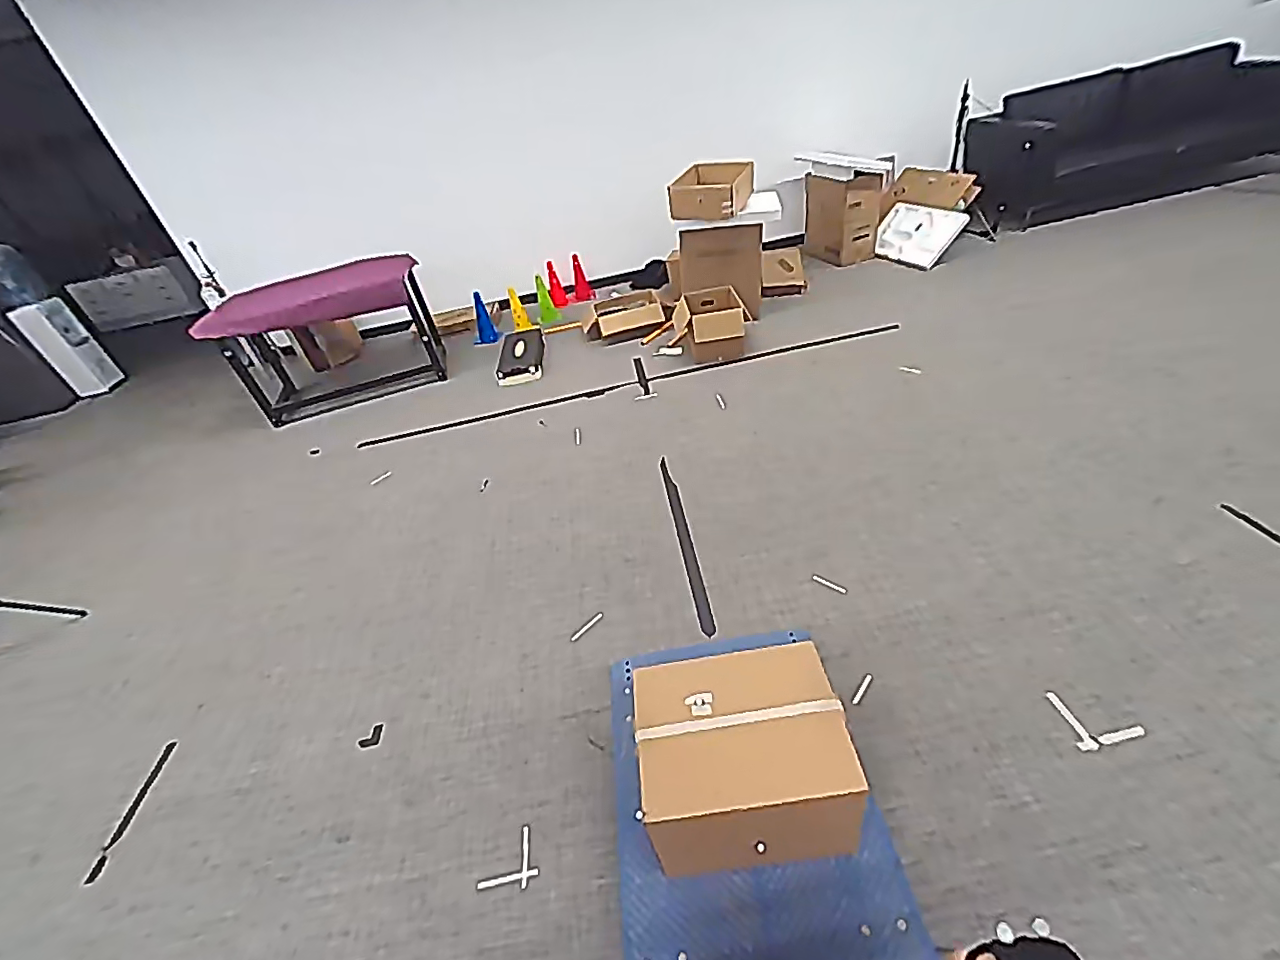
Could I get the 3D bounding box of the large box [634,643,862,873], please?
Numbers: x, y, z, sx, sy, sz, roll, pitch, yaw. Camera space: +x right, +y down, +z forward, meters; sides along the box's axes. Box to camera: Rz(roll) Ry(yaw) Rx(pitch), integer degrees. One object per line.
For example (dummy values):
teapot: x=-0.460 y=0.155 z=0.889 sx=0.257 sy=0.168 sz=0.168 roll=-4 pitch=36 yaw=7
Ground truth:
large box: x=0.222 y=0.606 z=1.183 sx=0.408 sy=0.320 sz=0.320 roll=-11 pitch=37 yaw=3
